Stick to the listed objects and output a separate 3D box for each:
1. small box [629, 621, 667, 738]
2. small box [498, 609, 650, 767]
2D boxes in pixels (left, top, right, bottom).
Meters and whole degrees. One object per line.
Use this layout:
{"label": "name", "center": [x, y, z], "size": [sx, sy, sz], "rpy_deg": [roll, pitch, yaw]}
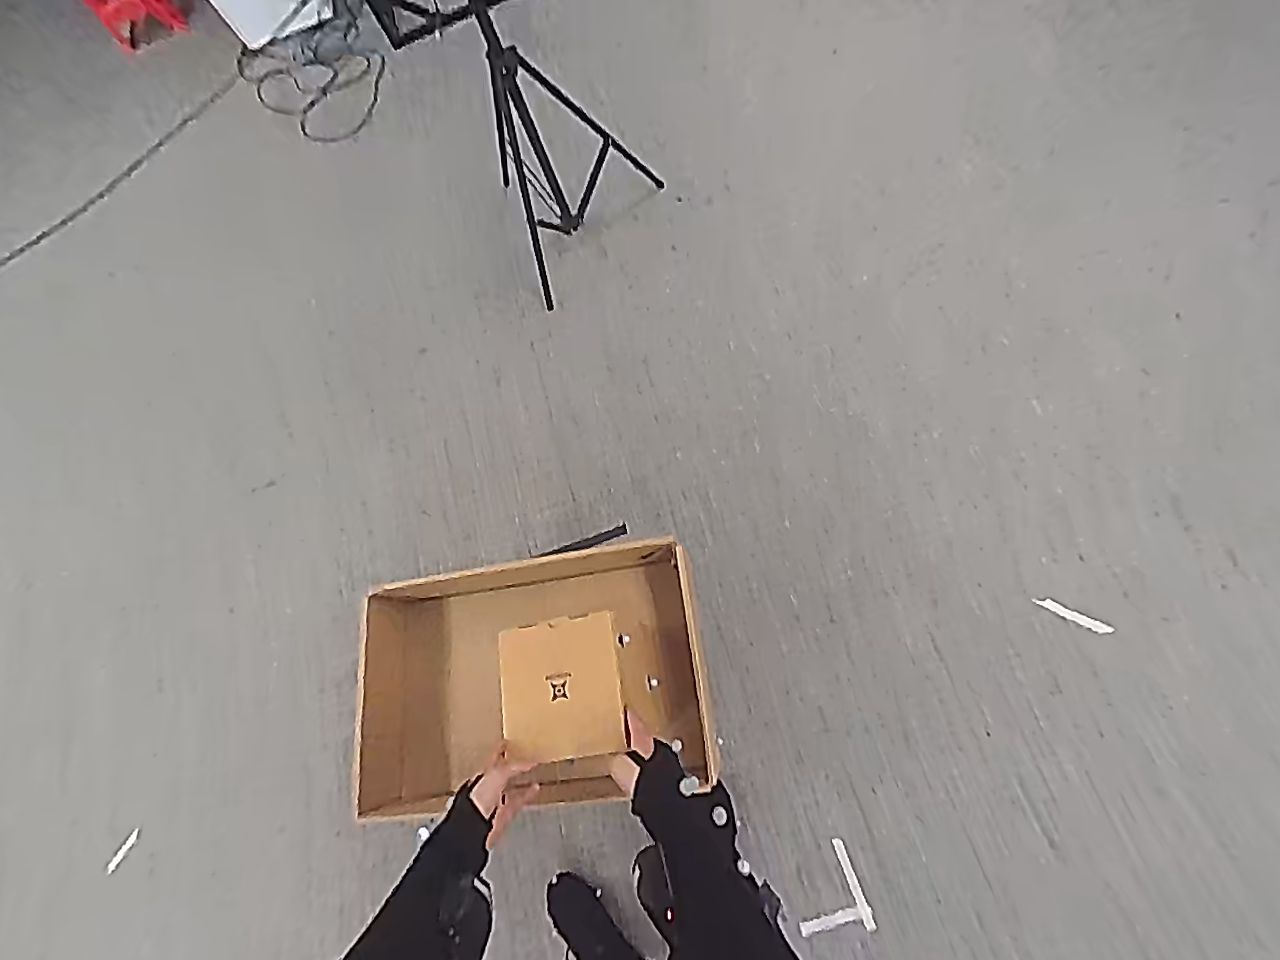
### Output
{"label": "small box", "center": [-0.056, 0.347, 0.926], "size": [0.168, 0.176, 0.179], "rpy_deg": [-13, 68, 8]}
{"label": "small box", "center": [-0.088, 0.293, 0.775], "size": [0.168, 0.176, 0.179], "rpy_deg": [-13, 68, 8]}
